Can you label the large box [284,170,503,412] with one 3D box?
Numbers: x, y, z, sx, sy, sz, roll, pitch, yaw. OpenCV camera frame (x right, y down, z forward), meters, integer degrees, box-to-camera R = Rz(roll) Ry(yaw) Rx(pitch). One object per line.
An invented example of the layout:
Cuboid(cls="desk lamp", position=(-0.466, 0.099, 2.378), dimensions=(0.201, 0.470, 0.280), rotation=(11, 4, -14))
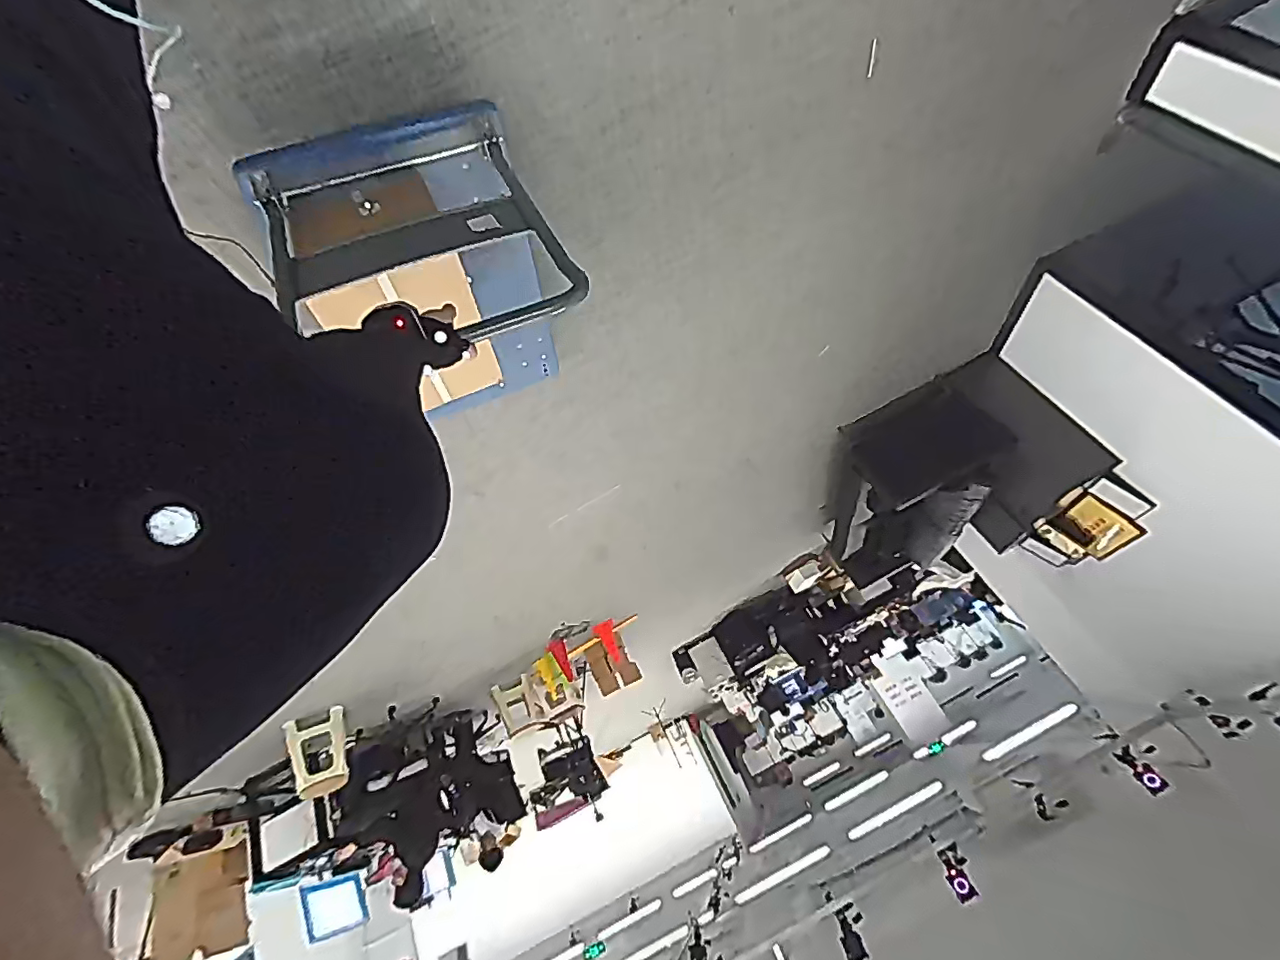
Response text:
Cuboid(cls="large box", position=(-0.577, -0.447, 1.315), dimensions=(0.320, 0.320, 0.408), rotation=(-23, 151, -11))
